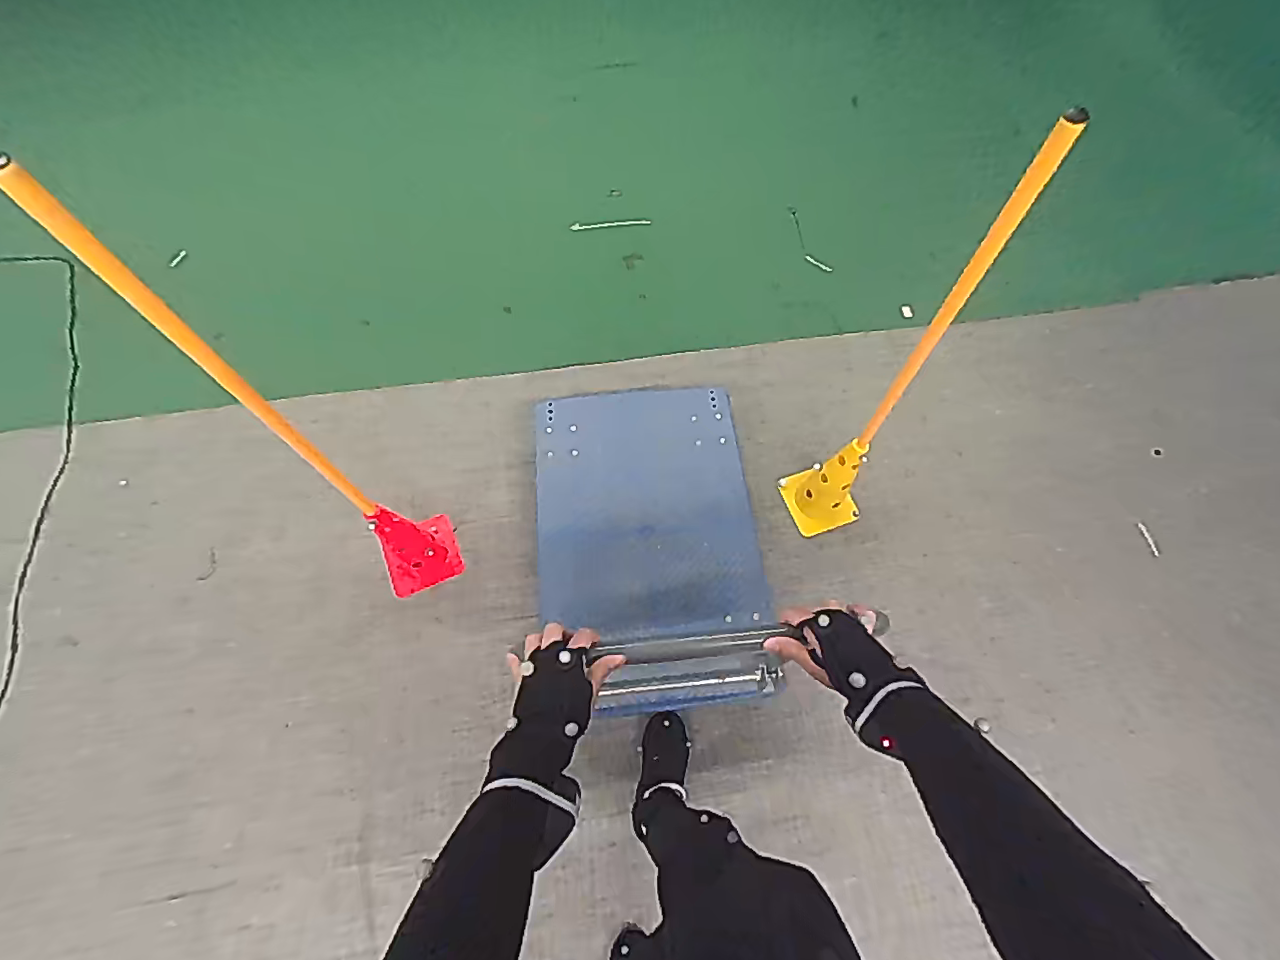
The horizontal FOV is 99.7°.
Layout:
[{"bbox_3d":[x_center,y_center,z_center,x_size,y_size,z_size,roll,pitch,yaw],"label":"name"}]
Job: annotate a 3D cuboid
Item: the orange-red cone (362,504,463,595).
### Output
[{"bbox_3d":[-0.624,0.146,1.401,0.199,0.360,0.198,-22,67,-9],"label":"orange-red cone"}]
